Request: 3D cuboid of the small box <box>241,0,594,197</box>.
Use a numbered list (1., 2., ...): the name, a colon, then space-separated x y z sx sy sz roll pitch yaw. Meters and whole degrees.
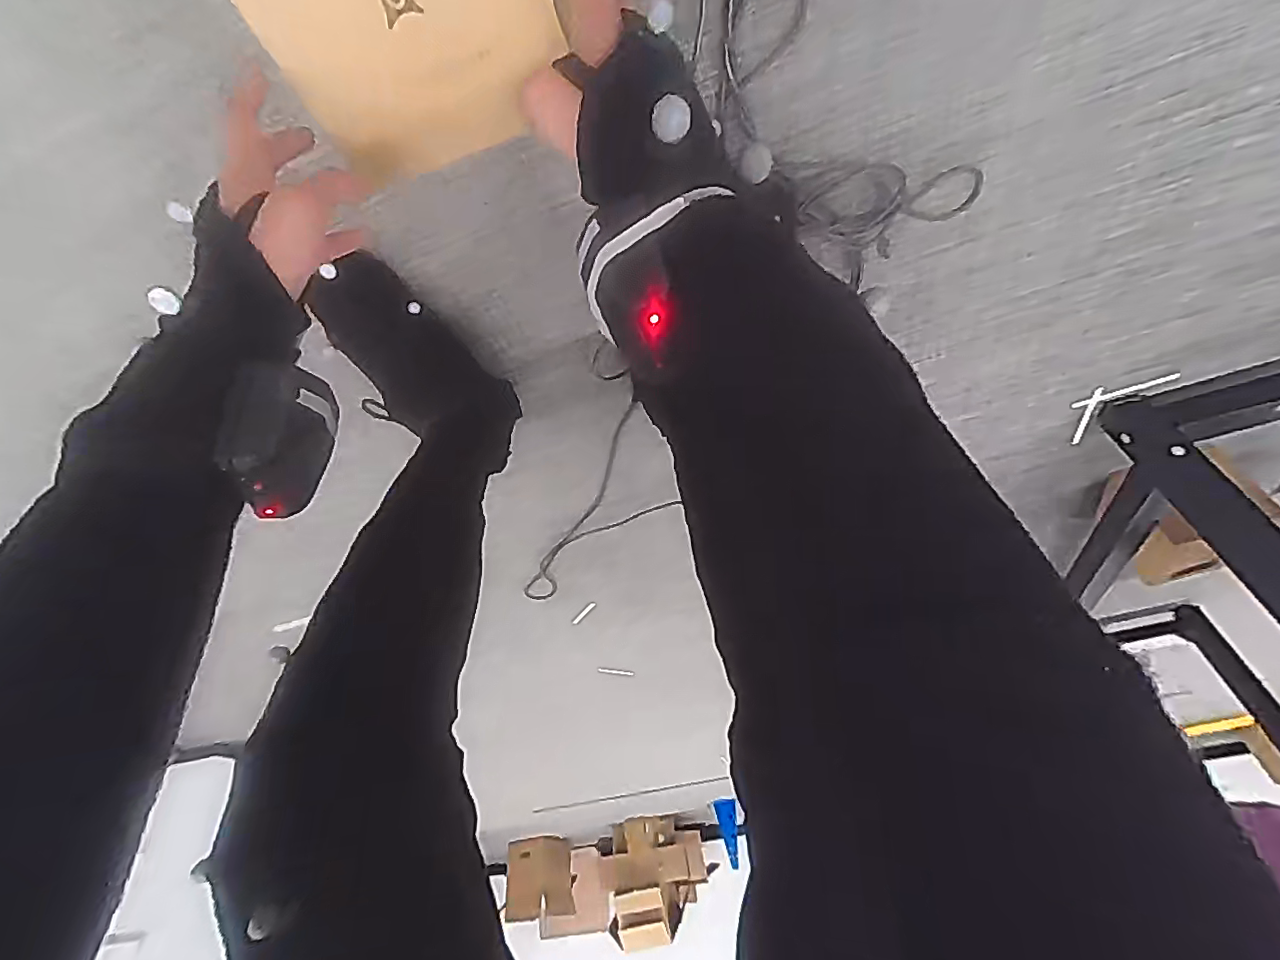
1. small box: -0.138 -0.326 0.346 0.168 0.176 0.179 -15 140 10
